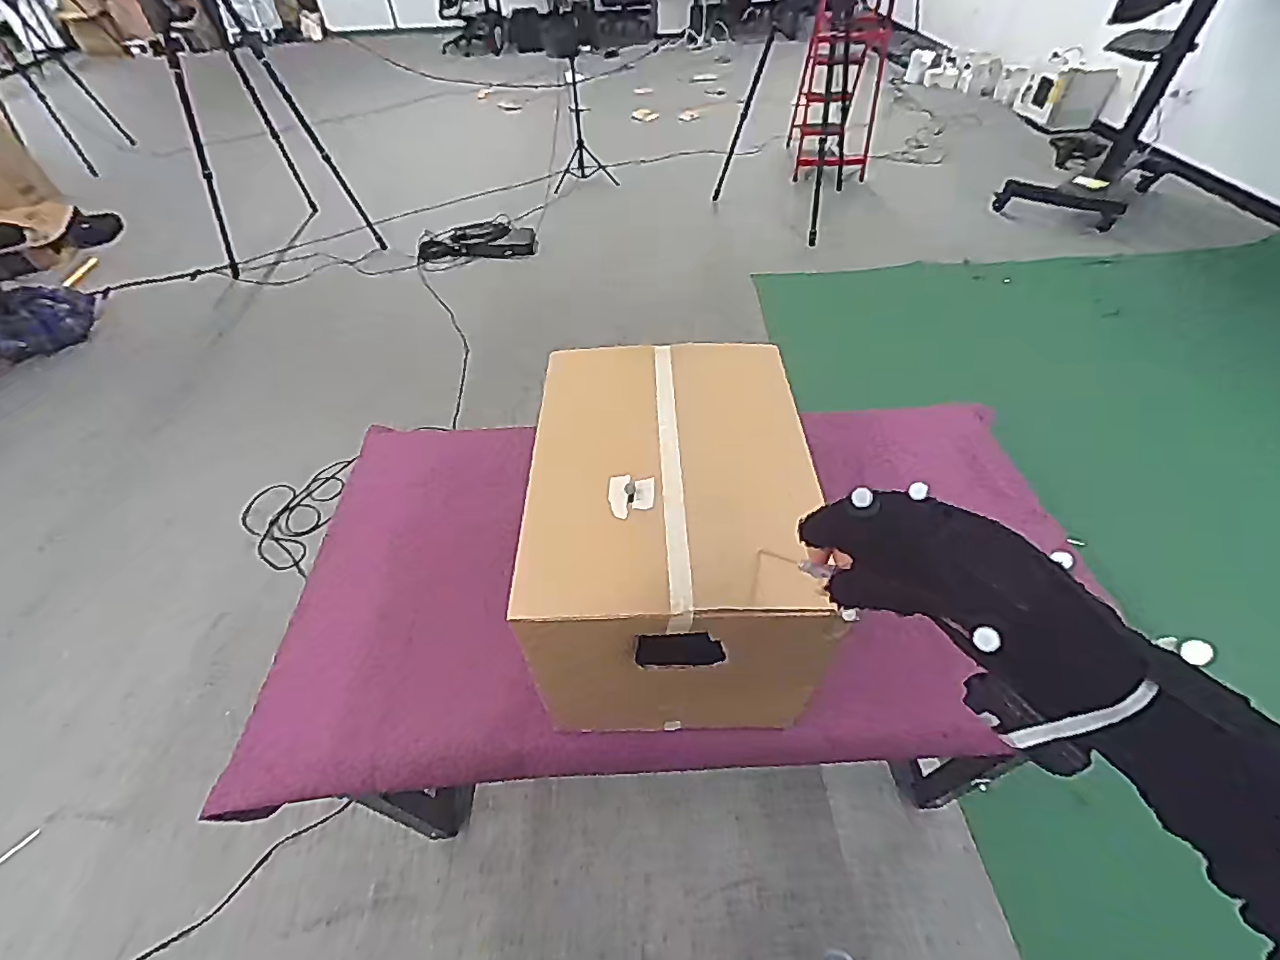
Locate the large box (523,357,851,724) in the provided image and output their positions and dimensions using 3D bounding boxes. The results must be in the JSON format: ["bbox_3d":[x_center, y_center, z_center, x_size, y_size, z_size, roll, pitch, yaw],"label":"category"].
[{"bbox_3d":[0.039,0.078,0.738,0.320,0.320,0.408,-1,49,1],"label":"large box"}]
